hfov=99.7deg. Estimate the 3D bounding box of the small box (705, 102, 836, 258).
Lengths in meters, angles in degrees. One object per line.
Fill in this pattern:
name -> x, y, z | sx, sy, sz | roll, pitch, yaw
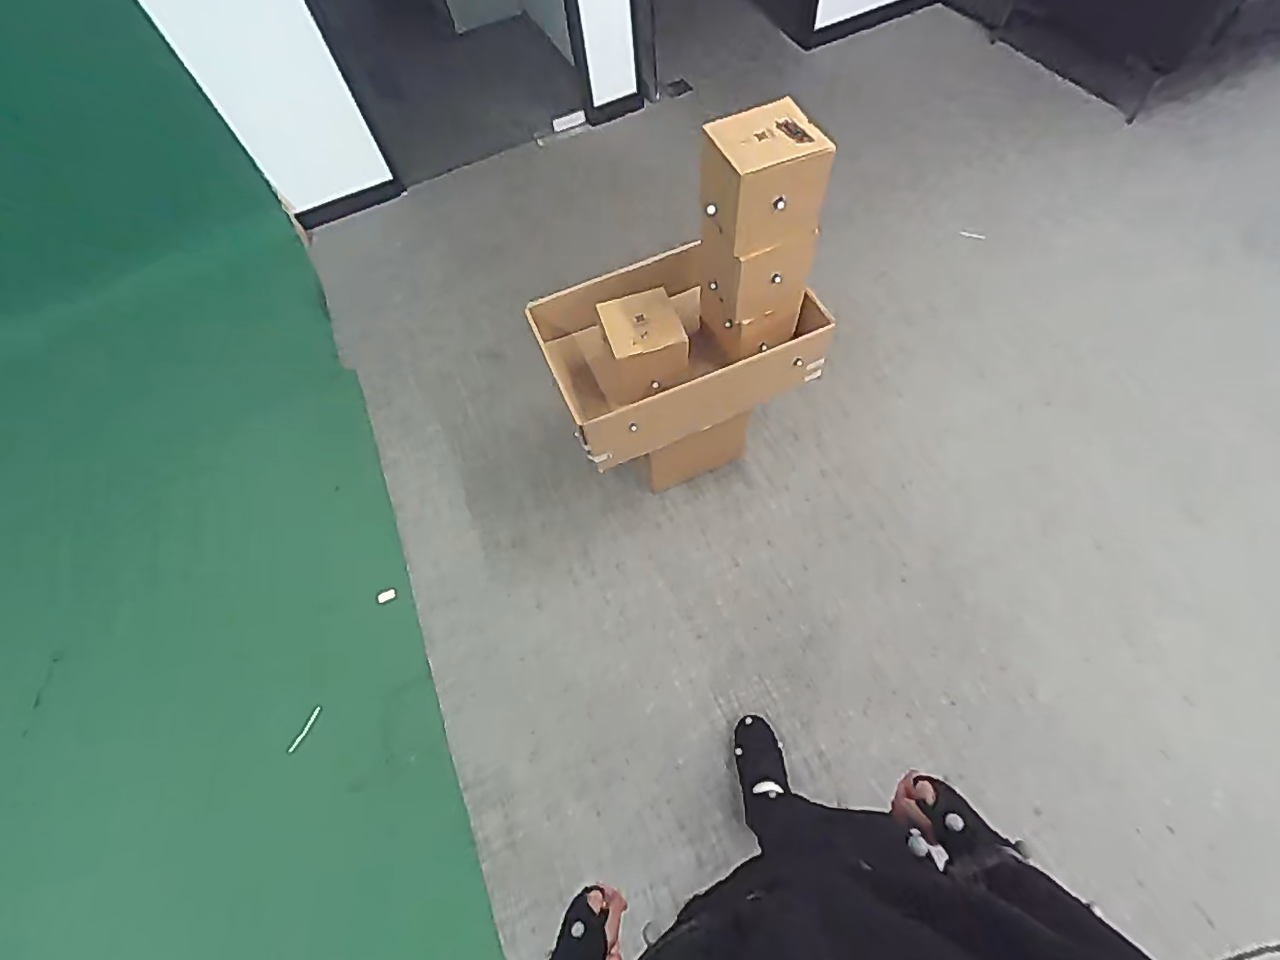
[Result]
small box -> 0.228, -0.548, 1.000 | 0.179, 0.176, 0.168 | -20, 62, -4
